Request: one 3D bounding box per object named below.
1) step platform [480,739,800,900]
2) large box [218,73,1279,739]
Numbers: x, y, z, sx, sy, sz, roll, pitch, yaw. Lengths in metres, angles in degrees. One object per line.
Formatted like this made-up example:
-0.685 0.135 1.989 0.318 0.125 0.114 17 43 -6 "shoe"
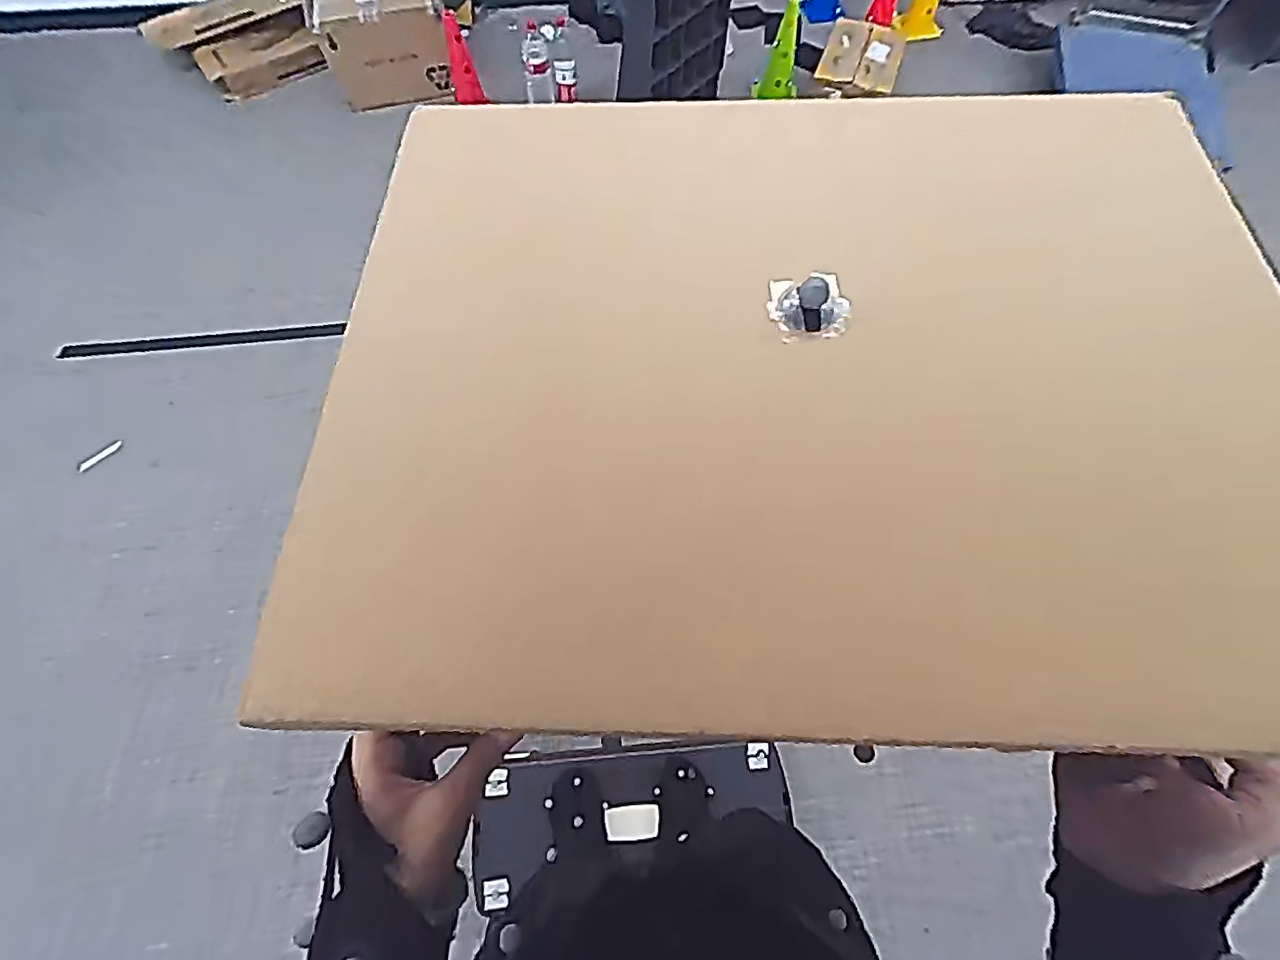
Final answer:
-0.001 0.738 1.202 0.684 0.204 0.286 0 67 -1 "step platform"
0.059 -0.006 0.363 0.408 0.320 0.320 -1 69 3 "large box"
